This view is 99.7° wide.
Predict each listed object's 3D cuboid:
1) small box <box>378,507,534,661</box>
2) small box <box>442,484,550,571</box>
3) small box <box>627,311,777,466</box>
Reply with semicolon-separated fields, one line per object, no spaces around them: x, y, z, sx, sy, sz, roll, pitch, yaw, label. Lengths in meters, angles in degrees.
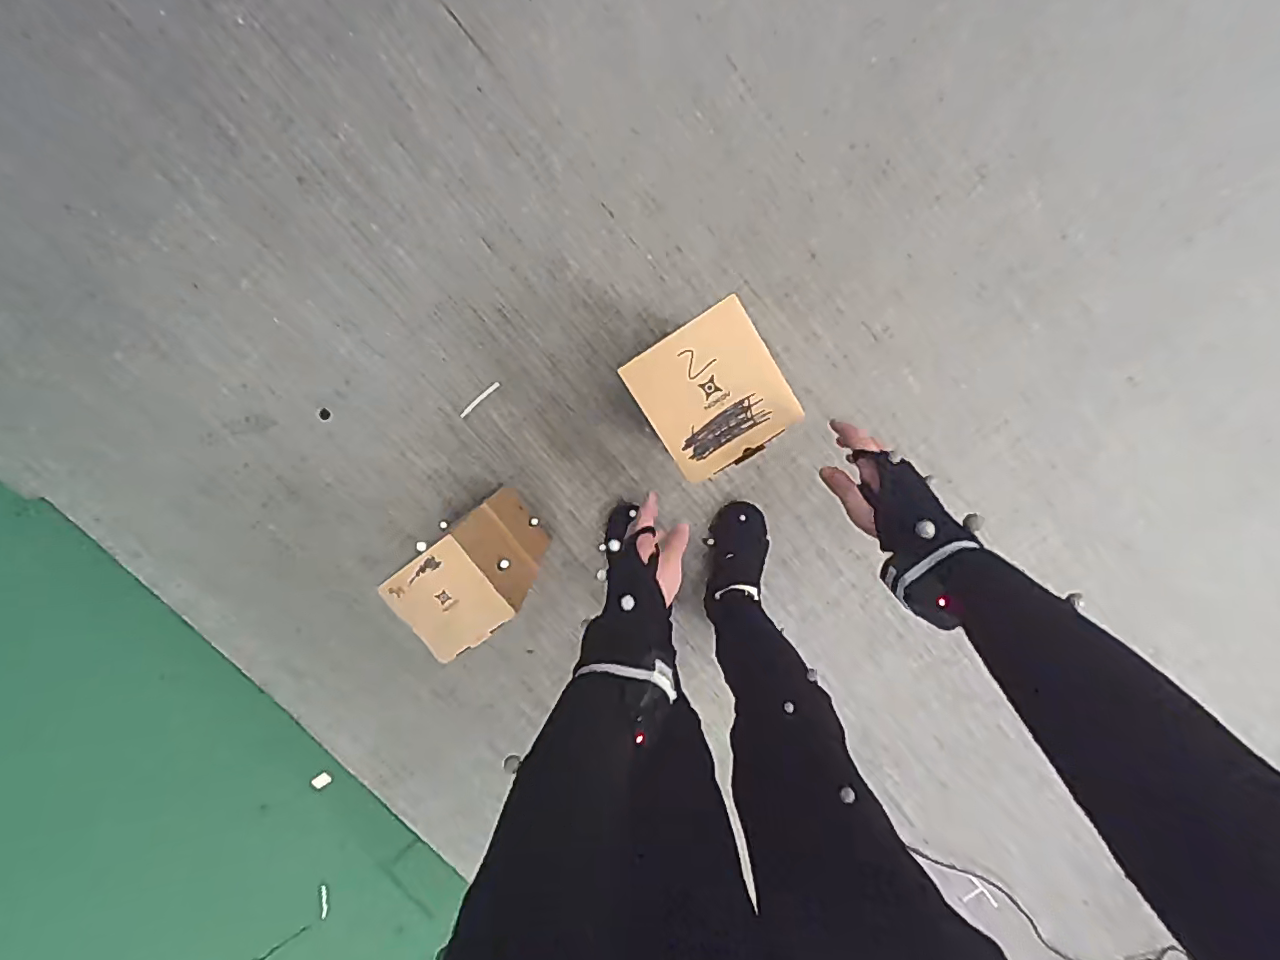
-0.312;0.176;0.962;0.168;0.176;0.179;-35;101;8;small box
-0.309;0.133;1.120;0.179;0.176;0.168;-35;101;7;small box
0.092;-0.149;0.885;0.168;0.176;0.179;-34;101;7;small box
